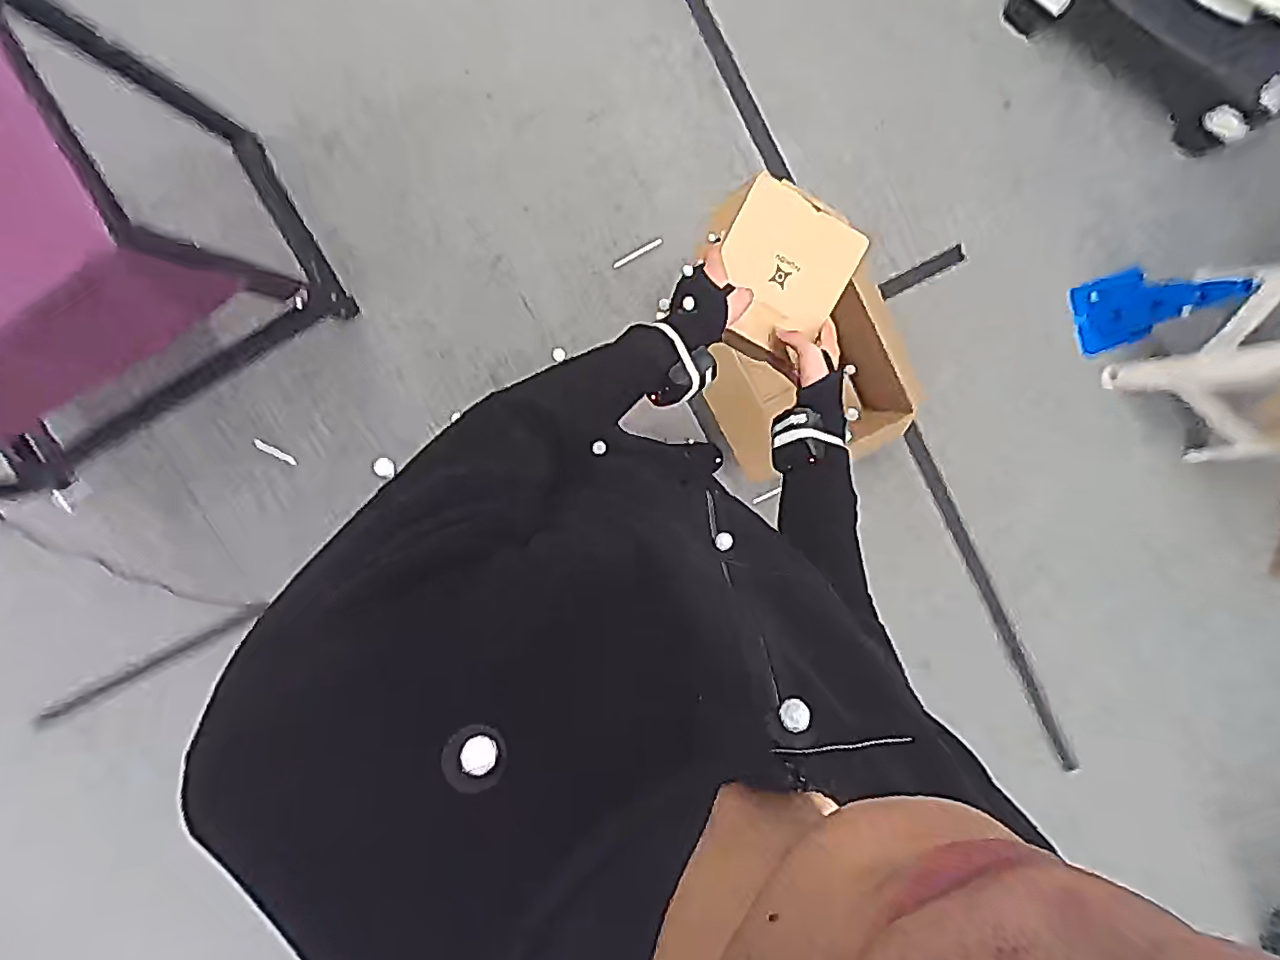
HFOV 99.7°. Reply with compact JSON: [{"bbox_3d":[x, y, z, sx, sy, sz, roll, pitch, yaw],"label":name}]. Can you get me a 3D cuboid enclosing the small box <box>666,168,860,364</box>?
[{"bbox_3d":[0.152,-0.277,0.737,0.168,0.176,0.179,24,100,-15],"label":"small box"}]
